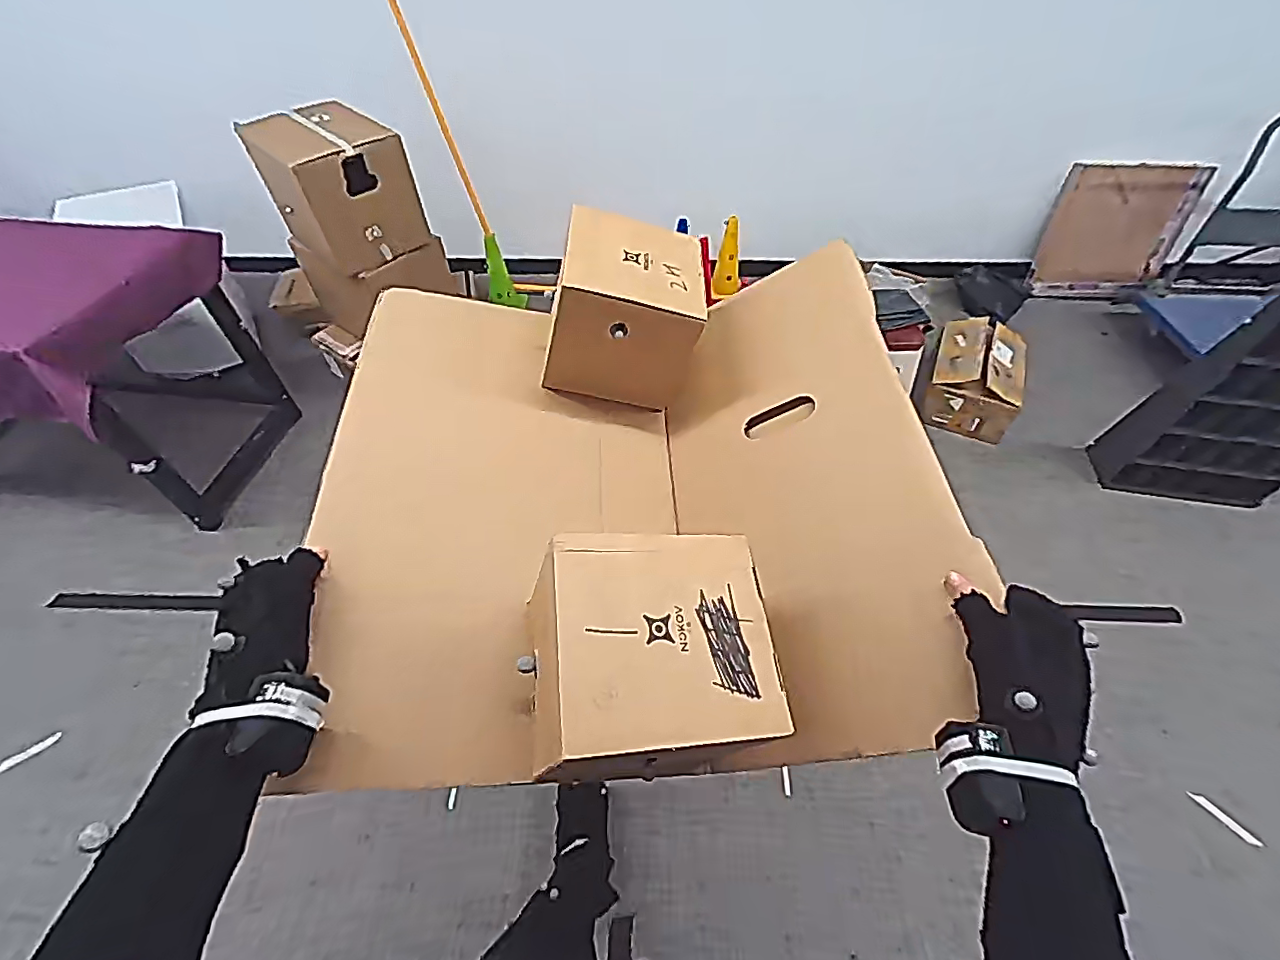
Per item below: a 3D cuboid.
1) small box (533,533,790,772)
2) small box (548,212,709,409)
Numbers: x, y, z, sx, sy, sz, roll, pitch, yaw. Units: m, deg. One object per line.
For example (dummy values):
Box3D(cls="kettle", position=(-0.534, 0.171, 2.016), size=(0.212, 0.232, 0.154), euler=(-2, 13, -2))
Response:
Box3D(cls="small box", position=(0.002, 0.159, 0.487), size=(0.179, 0.176, 0.168), euler=(3, 58, -16))
Box3D(cls="small box", position=(-0.021, -0.218, 0.726), size=(0.179, 0.176, 0.168), euler=(11, 56, -13))
